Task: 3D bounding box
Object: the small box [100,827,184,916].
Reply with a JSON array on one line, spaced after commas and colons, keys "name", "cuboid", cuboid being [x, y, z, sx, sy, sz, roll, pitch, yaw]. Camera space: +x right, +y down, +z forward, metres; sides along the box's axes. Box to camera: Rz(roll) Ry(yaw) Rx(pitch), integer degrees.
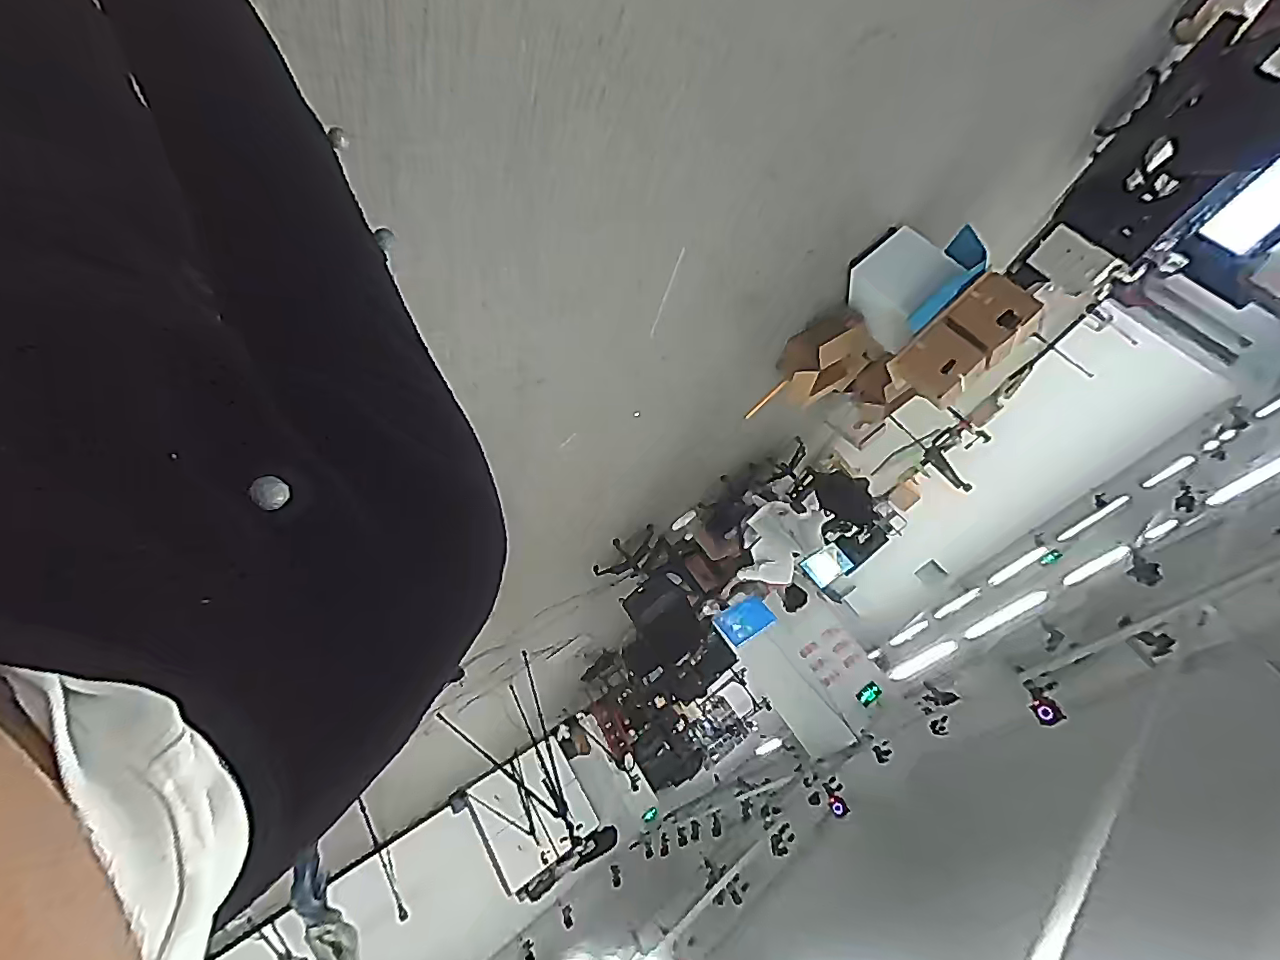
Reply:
[{"name": "small box", "cuboid": [-1.641, 1.281, 1.774, 0.168, 0.176, 0.179, -23, 151, -36]}]
